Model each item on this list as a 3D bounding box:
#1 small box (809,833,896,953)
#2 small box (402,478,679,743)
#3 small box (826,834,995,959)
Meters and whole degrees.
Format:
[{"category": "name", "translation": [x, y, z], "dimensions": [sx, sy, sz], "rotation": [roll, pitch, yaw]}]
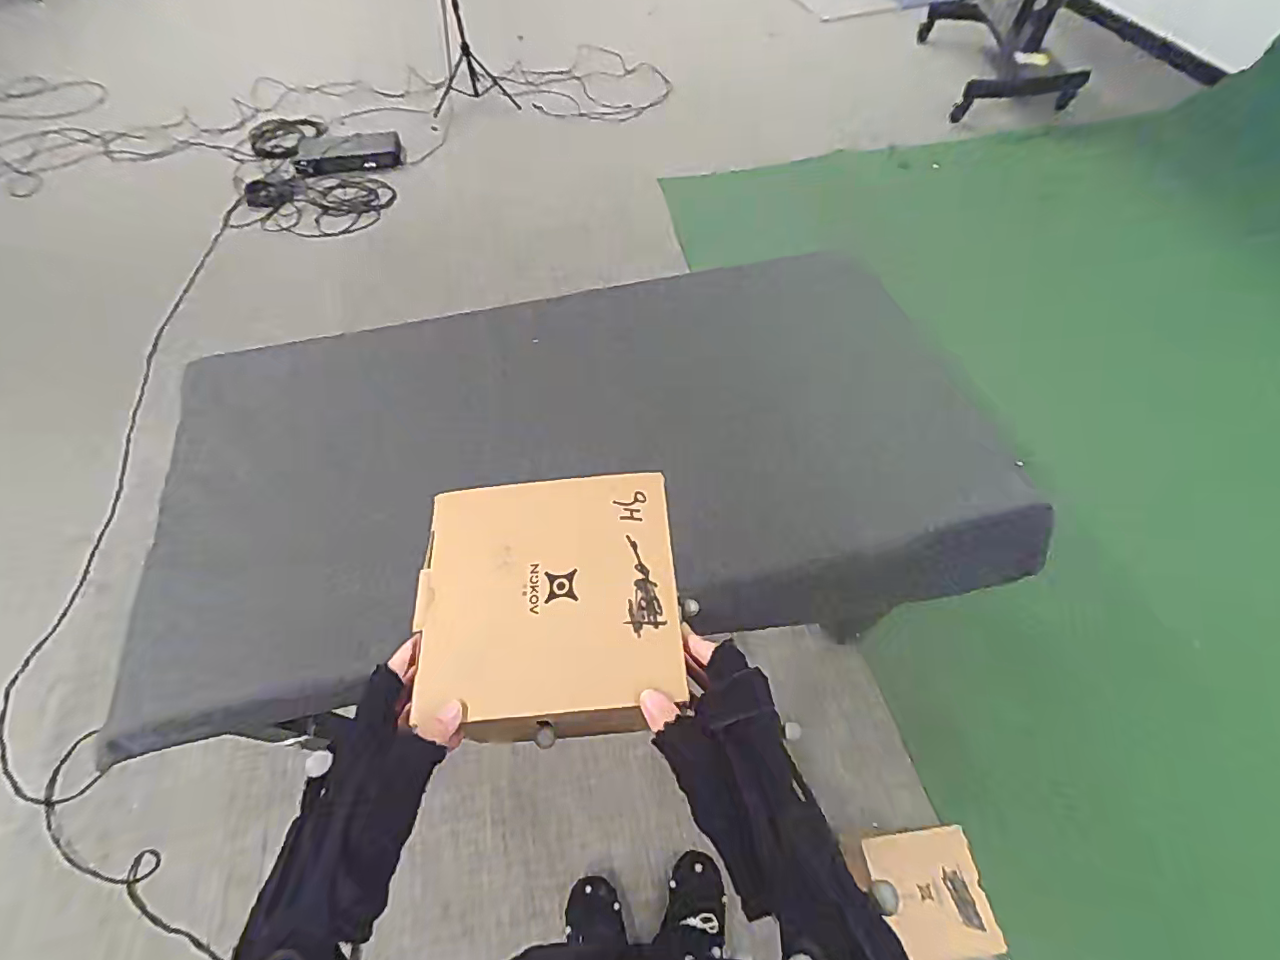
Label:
[{"category": "small box", "translation": [0.452, 0.795, 1.053], "dimensions": [0.179, 0.176, 0.168], "rotation": [-5, 56, -2]}, {"category": "small box", "translation": [-0.061, 0.115, 0.442], "dimensions": [0.179, 0.176, 0.168], "rotation": [-4, 60, 1]}, {"category": "small box", "translation": [0.441, 0.705, 0.915], "dimensions": [0.179, 0.176, 0.168], "rotation": [-5, 56, -3]}]
